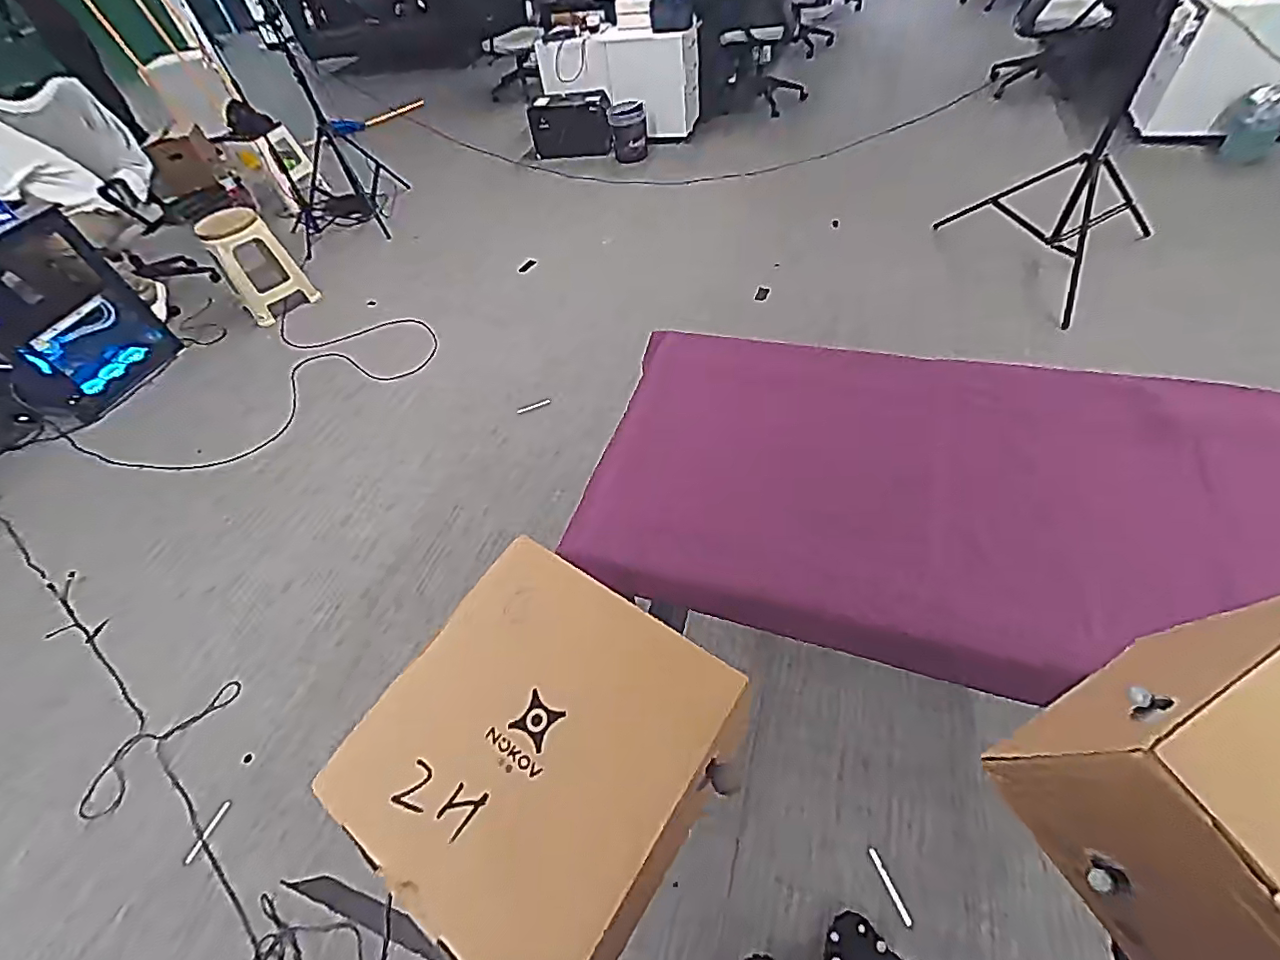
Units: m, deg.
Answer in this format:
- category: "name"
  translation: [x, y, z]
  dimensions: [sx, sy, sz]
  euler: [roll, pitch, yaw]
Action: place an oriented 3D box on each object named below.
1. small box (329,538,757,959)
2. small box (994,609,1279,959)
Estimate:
- category: "small box"
  translation: [-0.041, 0.175, 0.350]
  dimensions: [0.168, 0.176, 0.179]
  euler: [27, 67, 25]
- category: "small box"
  translation: [0.353, 0.186, 0.300]
  dimensions: [0.179, 0.176, 0.168]
  euler: [-28, 63, -10]
